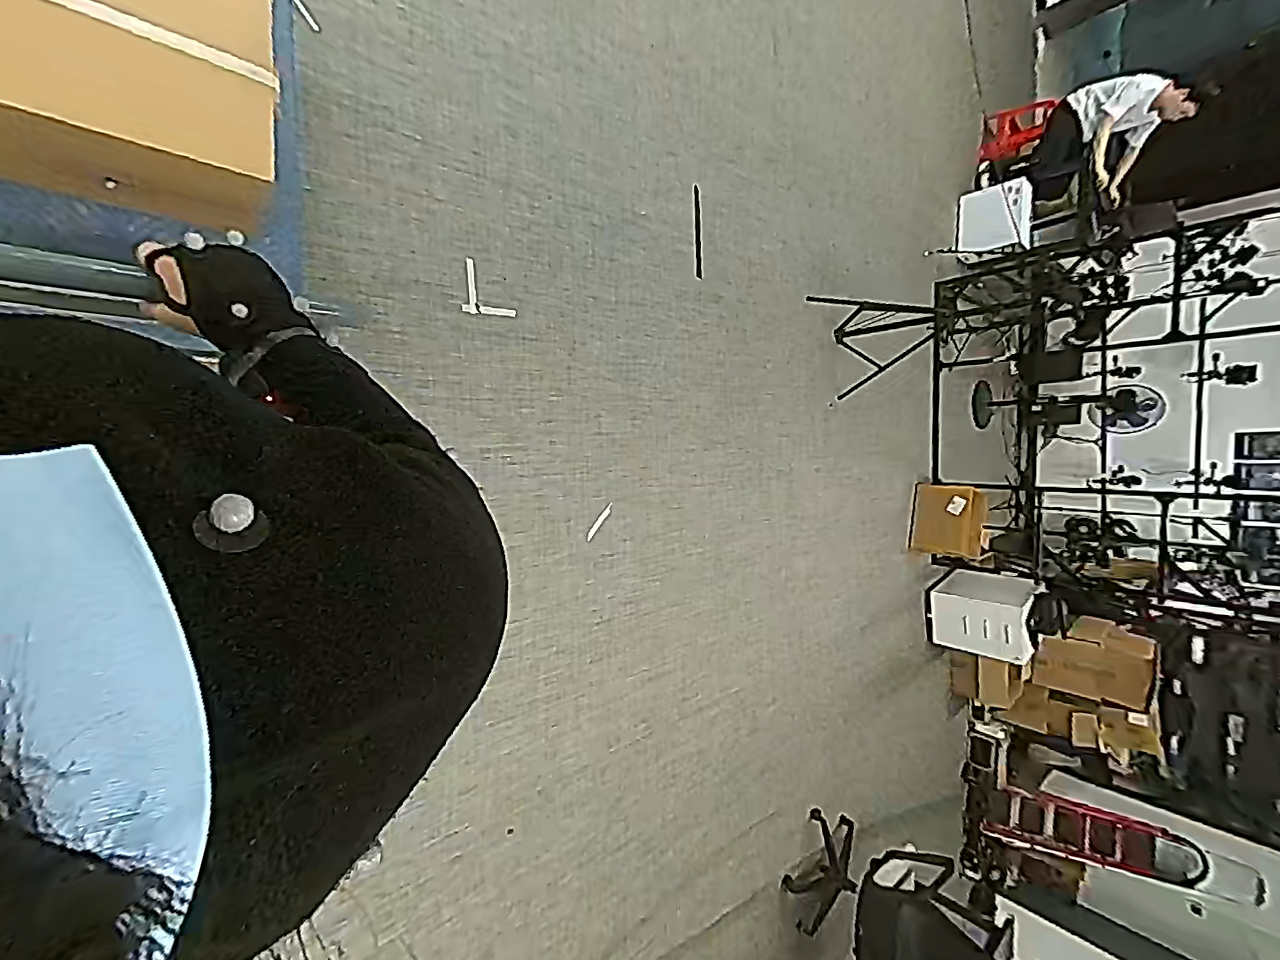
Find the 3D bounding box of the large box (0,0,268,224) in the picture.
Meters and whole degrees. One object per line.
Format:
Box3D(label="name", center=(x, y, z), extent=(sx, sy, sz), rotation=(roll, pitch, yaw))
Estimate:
Box3D(label="large box", center=(-0.848, -0.649, 0.851), extent=(0.408, 0.320, 0.320), rotation=(-2, 93, -40))
